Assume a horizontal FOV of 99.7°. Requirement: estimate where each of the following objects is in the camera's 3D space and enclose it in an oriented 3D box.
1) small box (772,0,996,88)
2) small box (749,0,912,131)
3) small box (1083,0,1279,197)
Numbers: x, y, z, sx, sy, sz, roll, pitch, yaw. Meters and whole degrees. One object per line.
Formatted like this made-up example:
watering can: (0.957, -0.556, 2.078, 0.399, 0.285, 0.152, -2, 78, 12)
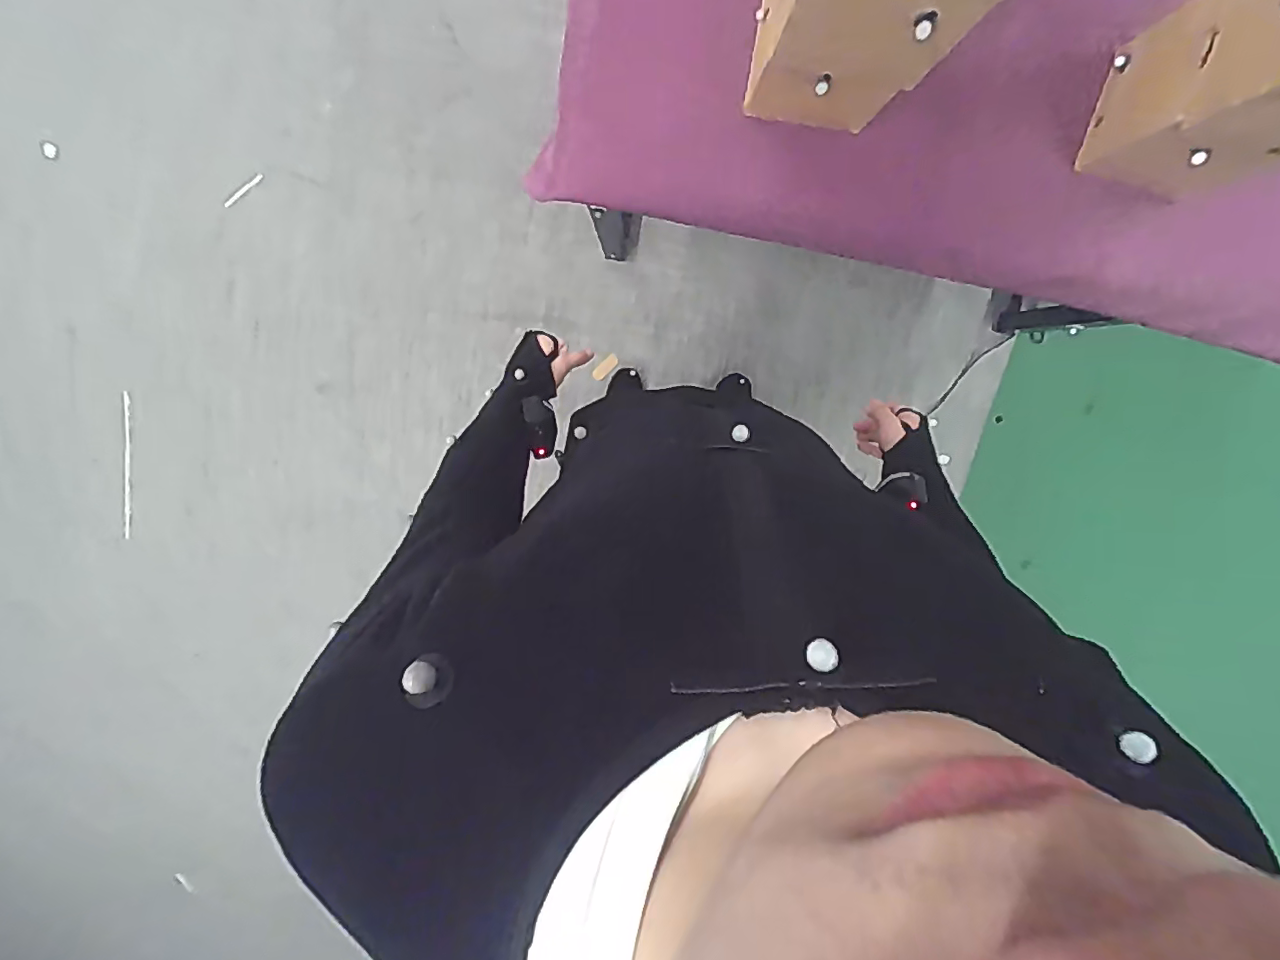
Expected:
small box: (0.251, -0.534, 0.544, 0.179, 0.176, 0.168, 11, 102, -1)
small box: (0.254, -0.583, 0.702, 0.179, 0.176, 0.168, 9, 102, 0)
small box: (0.745, -0.495, 0.707, 0.179, 0.176, 0.168, 14, 102, -2)
